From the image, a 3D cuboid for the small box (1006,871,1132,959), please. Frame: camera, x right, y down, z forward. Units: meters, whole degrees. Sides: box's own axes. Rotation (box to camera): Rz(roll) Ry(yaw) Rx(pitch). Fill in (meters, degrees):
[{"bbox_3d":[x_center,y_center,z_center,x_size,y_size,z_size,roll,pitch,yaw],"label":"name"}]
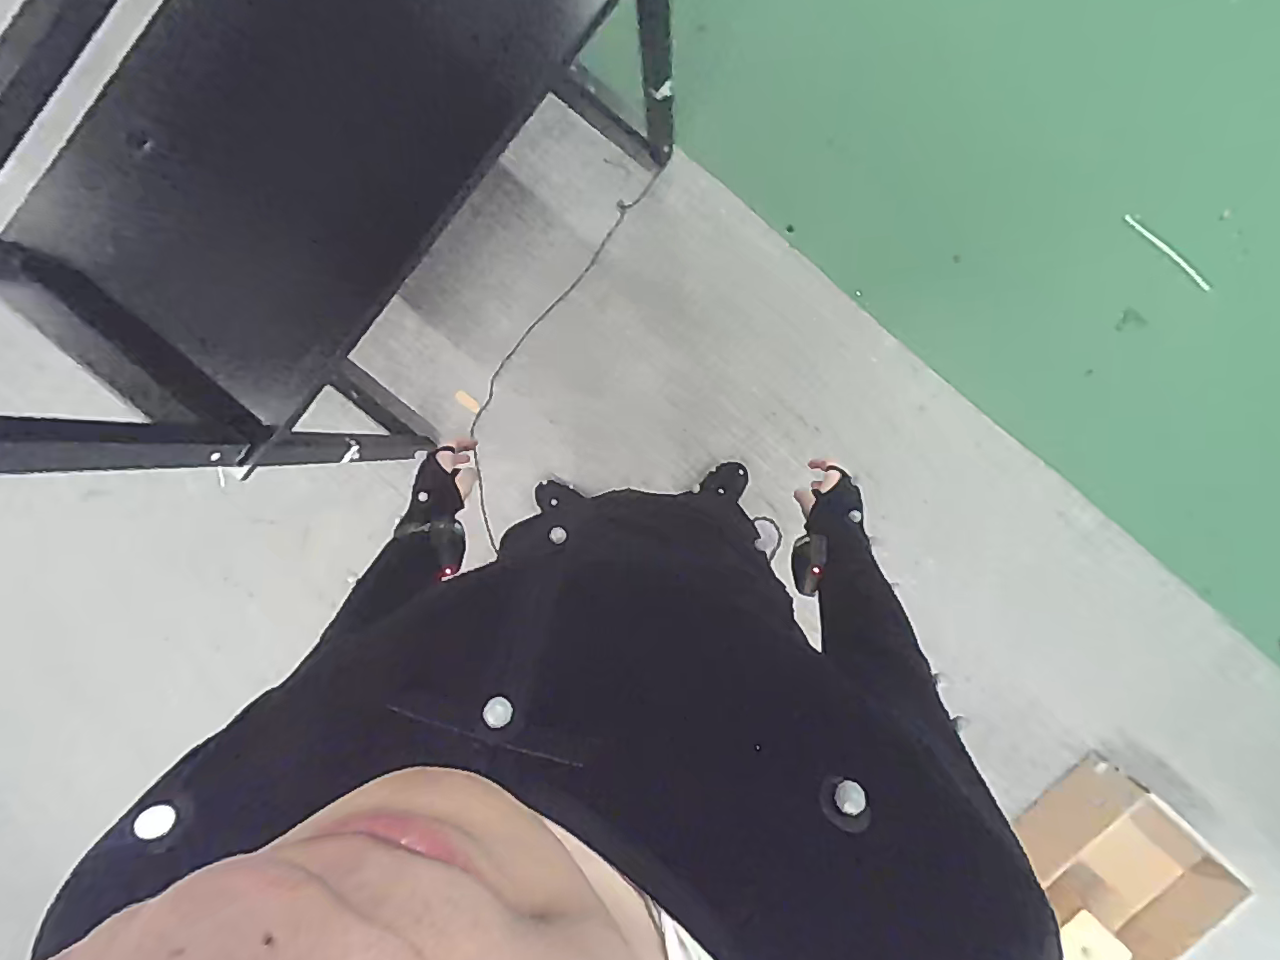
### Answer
[{"bbox_3d":[1.168,1.232,1.490,0.179,0.176,0.168,44,94,0],"label":"small box"}]
